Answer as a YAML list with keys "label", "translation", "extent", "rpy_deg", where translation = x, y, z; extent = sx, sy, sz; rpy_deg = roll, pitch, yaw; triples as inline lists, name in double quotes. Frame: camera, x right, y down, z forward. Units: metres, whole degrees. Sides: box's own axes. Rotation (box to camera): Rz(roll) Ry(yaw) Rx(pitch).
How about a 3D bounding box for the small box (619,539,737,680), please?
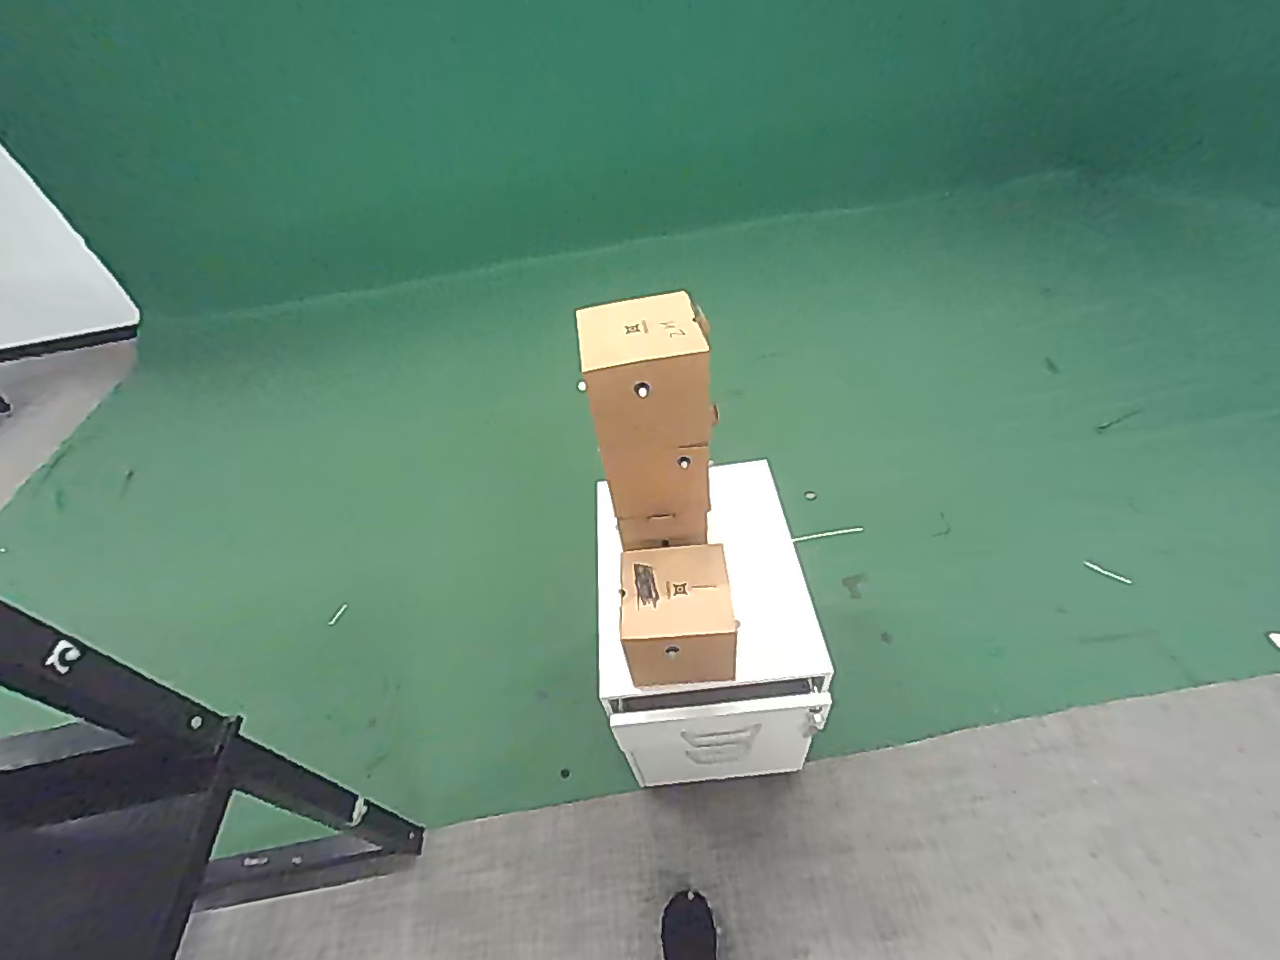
- label: "small box"
  translation: [0.064, 0.220, 0.900]
  extent: [0.179, 0.176, 0.168]
  rpy_deg: [-5, 46, 4]

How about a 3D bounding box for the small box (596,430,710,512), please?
- label: "small box"
  translation: [0.027, -0.058, 0.944]
  extent: [0.179, 0.176, 0.168]
  rpy_deg: [-4, 47, 4]

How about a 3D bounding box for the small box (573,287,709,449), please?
- label: "small box"
  translation: [0.003, -0.165, 0.820]
  extent: [0.179, 0.176, 0.168]
  rpy_deg: [-10, 47, -1]
